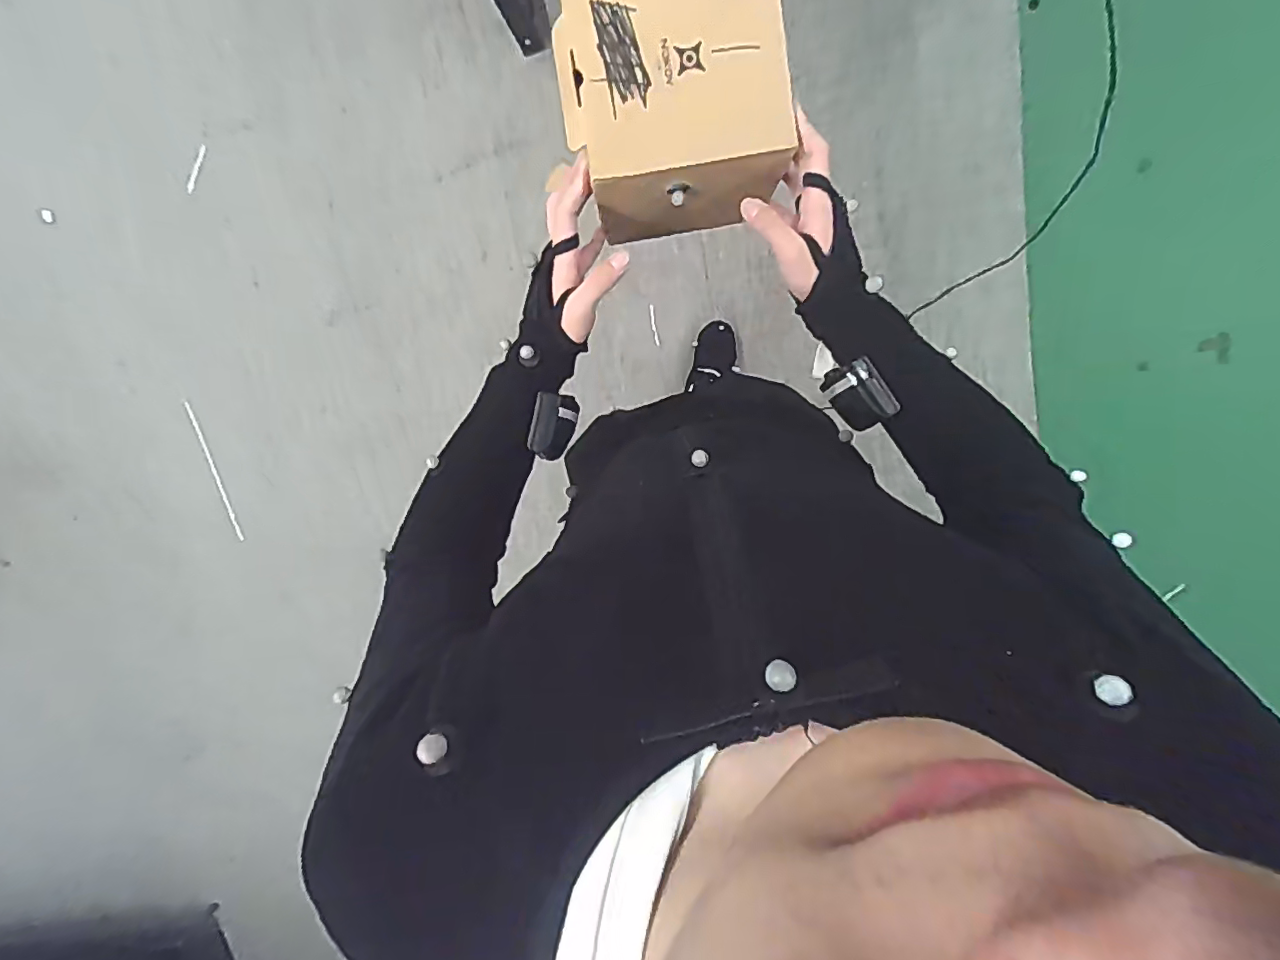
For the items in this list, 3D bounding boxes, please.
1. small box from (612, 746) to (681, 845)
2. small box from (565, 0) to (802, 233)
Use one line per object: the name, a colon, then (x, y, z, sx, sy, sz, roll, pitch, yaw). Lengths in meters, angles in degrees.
small box: (0.023, 0.841, 1.456, 0.168, 0.176, 0.179, -4, 102, 6)
small box: (0.037, -0.354, 0.515, 0.179, 0.176, 0.168, -9, 97, 1)
